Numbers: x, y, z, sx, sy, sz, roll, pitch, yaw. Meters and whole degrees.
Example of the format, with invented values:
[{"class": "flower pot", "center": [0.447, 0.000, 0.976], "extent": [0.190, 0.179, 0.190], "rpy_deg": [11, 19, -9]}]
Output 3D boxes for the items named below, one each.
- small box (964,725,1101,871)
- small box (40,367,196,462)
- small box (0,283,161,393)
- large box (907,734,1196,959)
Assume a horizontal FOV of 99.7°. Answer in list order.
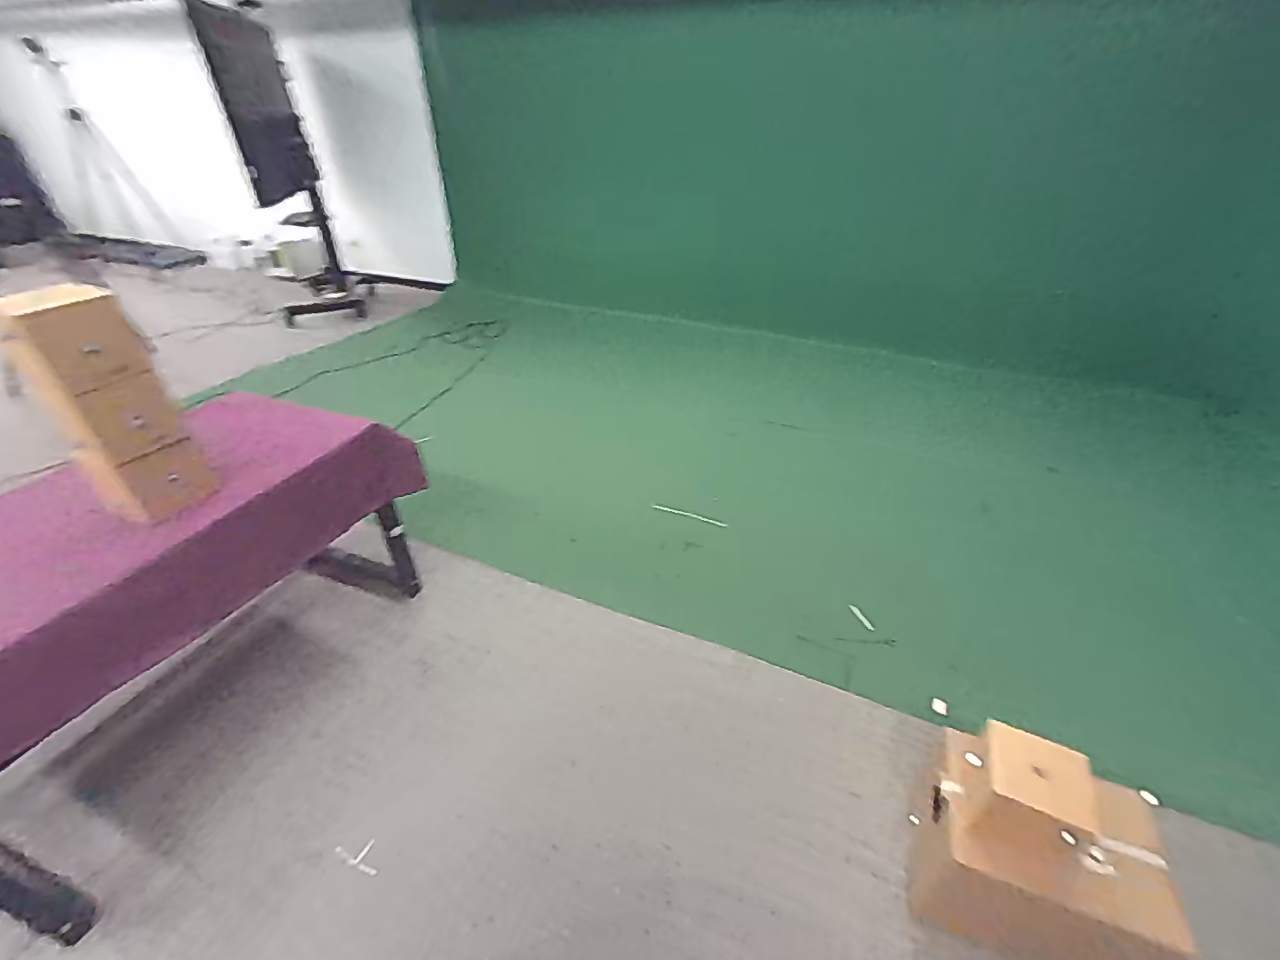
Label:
[{"class": "small box", "center": [0.780, 0.646, 1.097], "extent": [0.179, 0.176, 0.168], "rpy_deg": [17, 39, 20]}, {"class": "small box", "center": [-1.164, -0.160, 1.220], "extent": [0.179, 0.176, 0.168], "rpy_deg": [17, 38, 22]}, {"class": "small box", "center": [-1.164, -0.295, 1.124], "extent": [0.179, 0.176, 0.168], "rpy_deg": [15, 37, 22]}, {"class": "large box", "center": [0.861, 0.861, 1.219], "extent": [0.408, 0.320, 0.320], "rpy_deg": [15, 37, 18]}]
